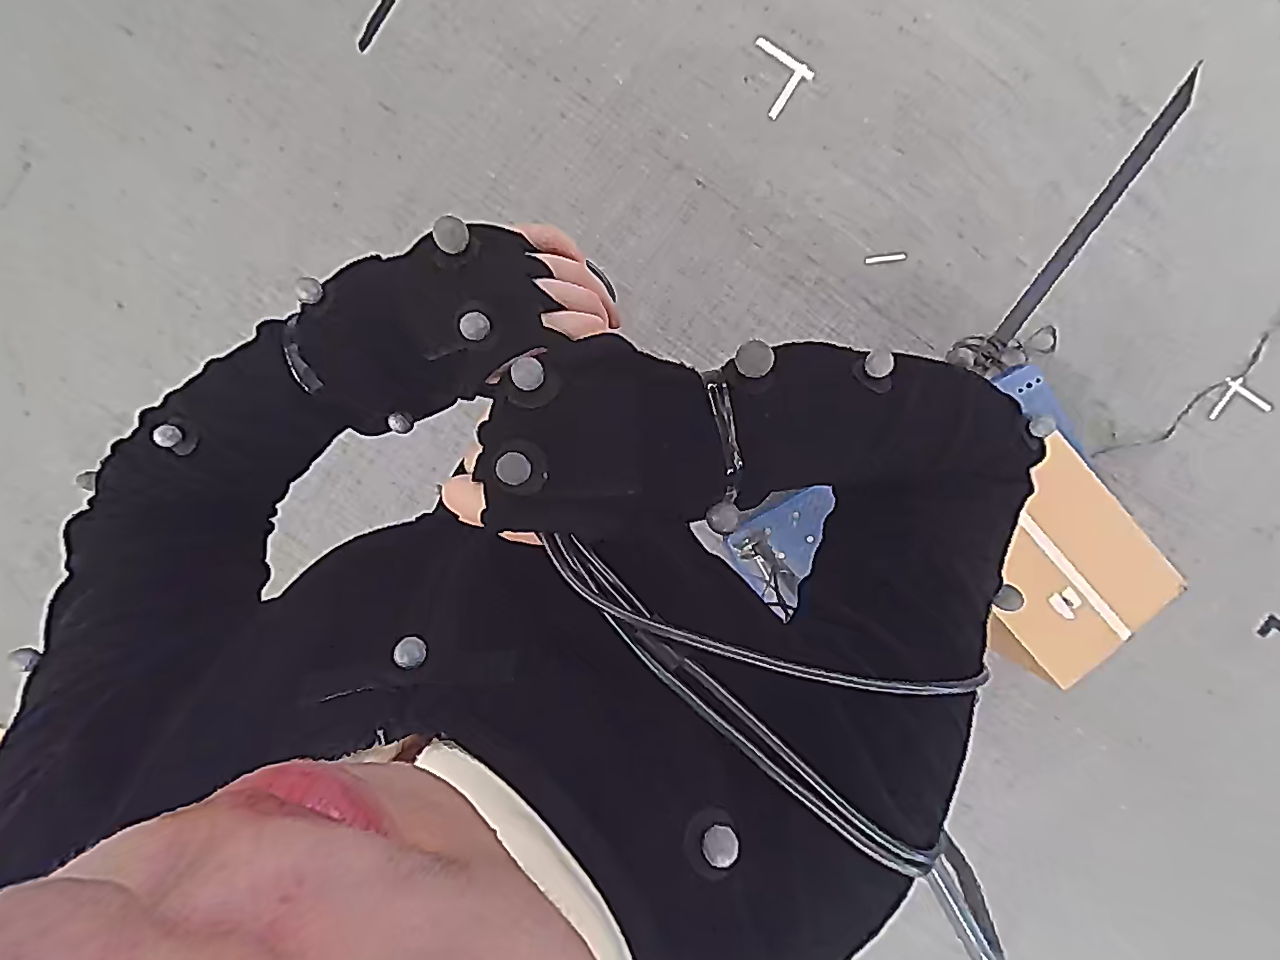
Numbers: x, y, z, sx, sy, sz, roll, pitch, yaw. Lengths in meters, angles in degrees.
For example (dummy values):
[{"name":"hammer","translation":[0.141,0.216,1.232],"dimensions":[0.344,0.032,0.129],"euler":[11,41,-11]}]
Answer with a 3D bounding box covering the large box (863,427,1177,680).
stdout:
[{"name":"large box","translation":[0.782,0.133,1.175],"dimensions":[0.320,0.320,0.408],"euler":[-42,94,3]}]
